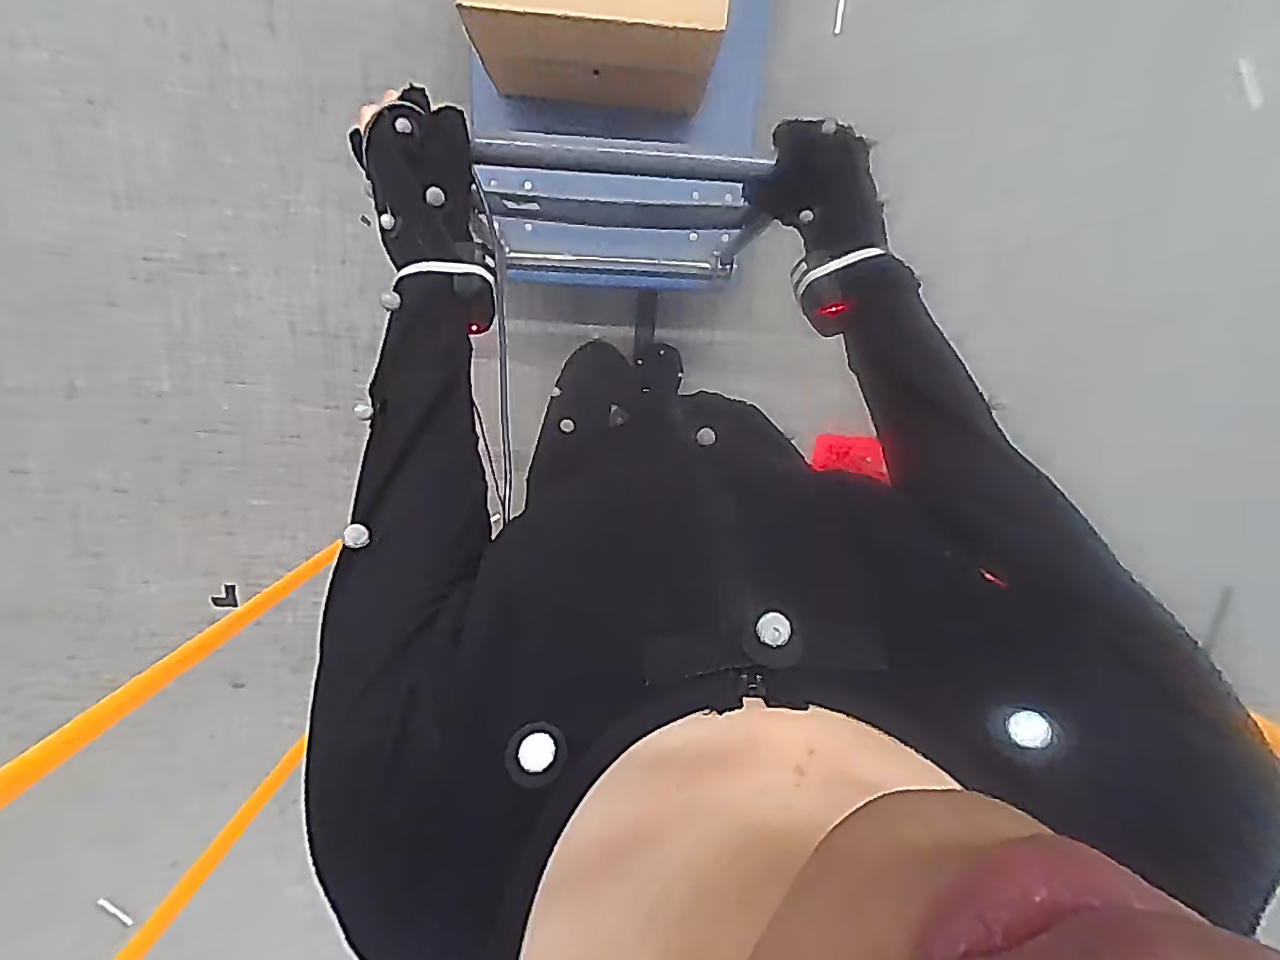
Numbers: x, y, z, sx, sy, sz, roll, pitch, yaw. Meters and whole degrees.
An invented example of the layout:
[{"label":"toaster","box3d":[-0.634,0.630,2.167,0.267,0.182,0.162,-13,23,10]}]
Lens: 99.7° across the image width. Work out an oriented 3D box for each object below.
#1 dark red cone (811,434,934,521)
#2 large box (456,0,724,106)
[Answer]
[{"label":"dark red cone","box3d":[0.580,0.021,1.311,0.201,0.394,0.202,3,105,-5]},{"label":"large box","box3d":[-0.070,-0.873,0.913,0.408,0.320,0.320,3,104,-3]}]
